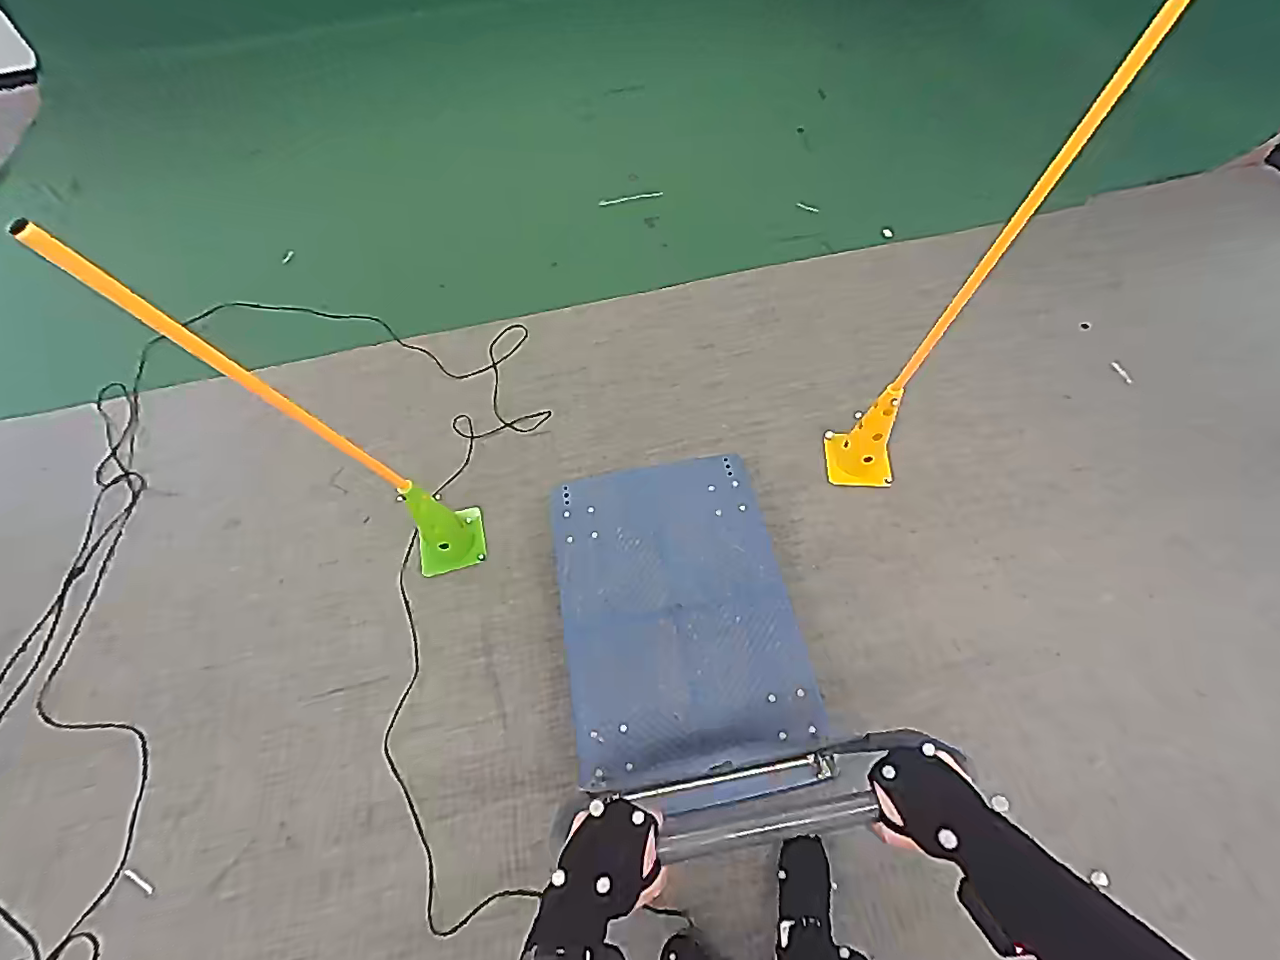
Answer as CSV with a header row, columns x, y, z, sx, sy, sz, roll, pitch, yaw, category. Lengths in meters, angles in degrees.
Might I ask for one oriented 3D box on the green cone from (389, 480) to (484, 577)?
x,y,z,sx,sy,sz,roll,pitch,yaw,category
-0.605,0.102,1.537,0.202,0.368,0.200,-17,59,-5,green cone
